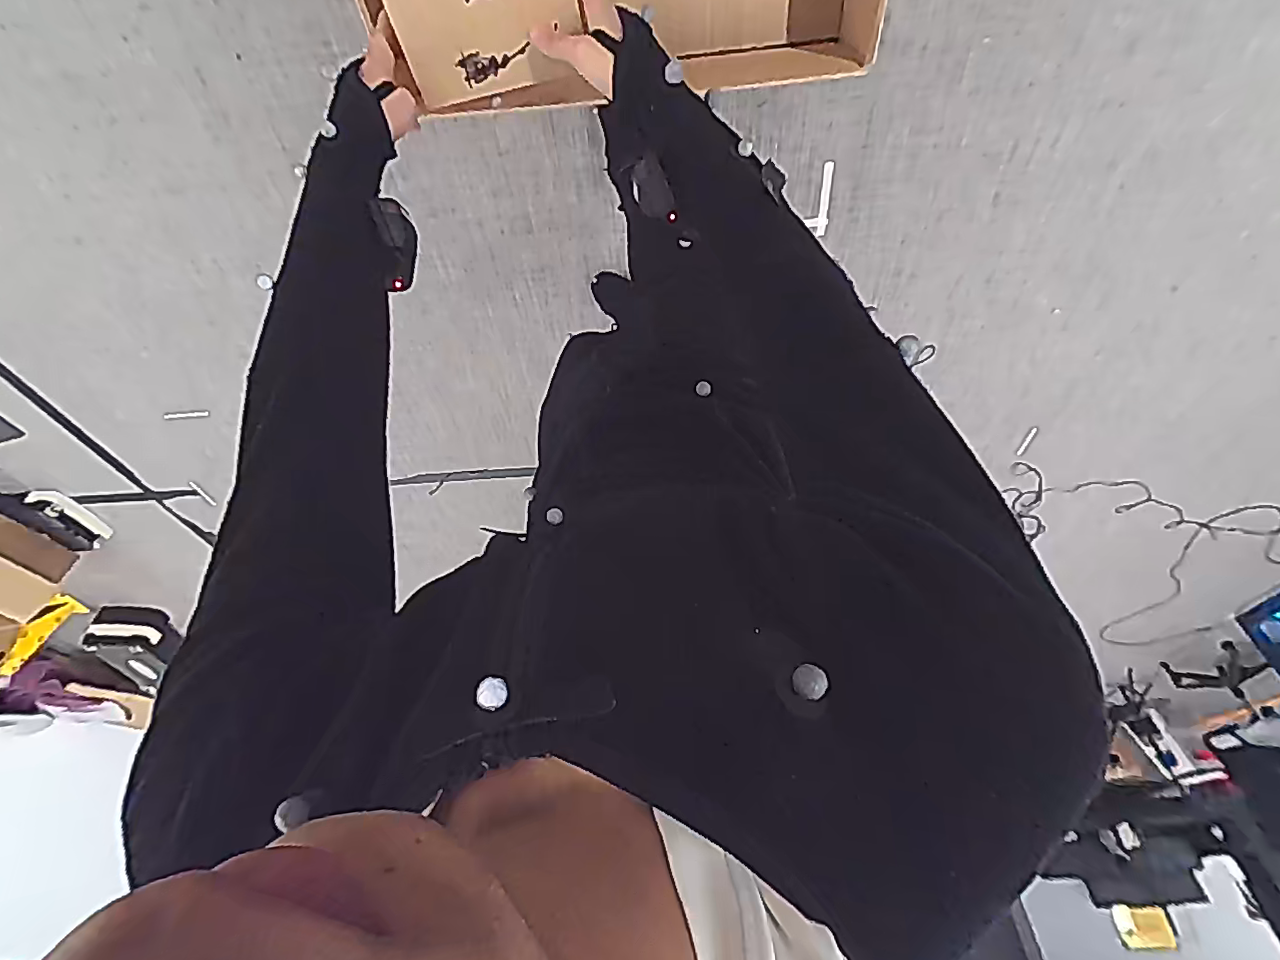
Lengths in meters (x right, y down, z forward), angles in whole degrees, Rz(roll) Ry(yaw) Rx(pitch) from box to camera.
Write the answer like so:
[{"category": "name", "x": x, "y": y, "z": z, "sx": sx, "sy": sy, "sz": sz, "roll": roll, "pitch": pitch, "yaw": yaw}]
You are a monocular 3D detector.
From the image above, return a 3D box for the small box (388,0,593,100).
[{"category": "small box", "x": -0.142, "y": -0.487, "z": 0.503, "sx": 0.168, "sy": 0.176, "sz": 0.179, "roll": -8, "pitch": 136, "yaw": 5}]
